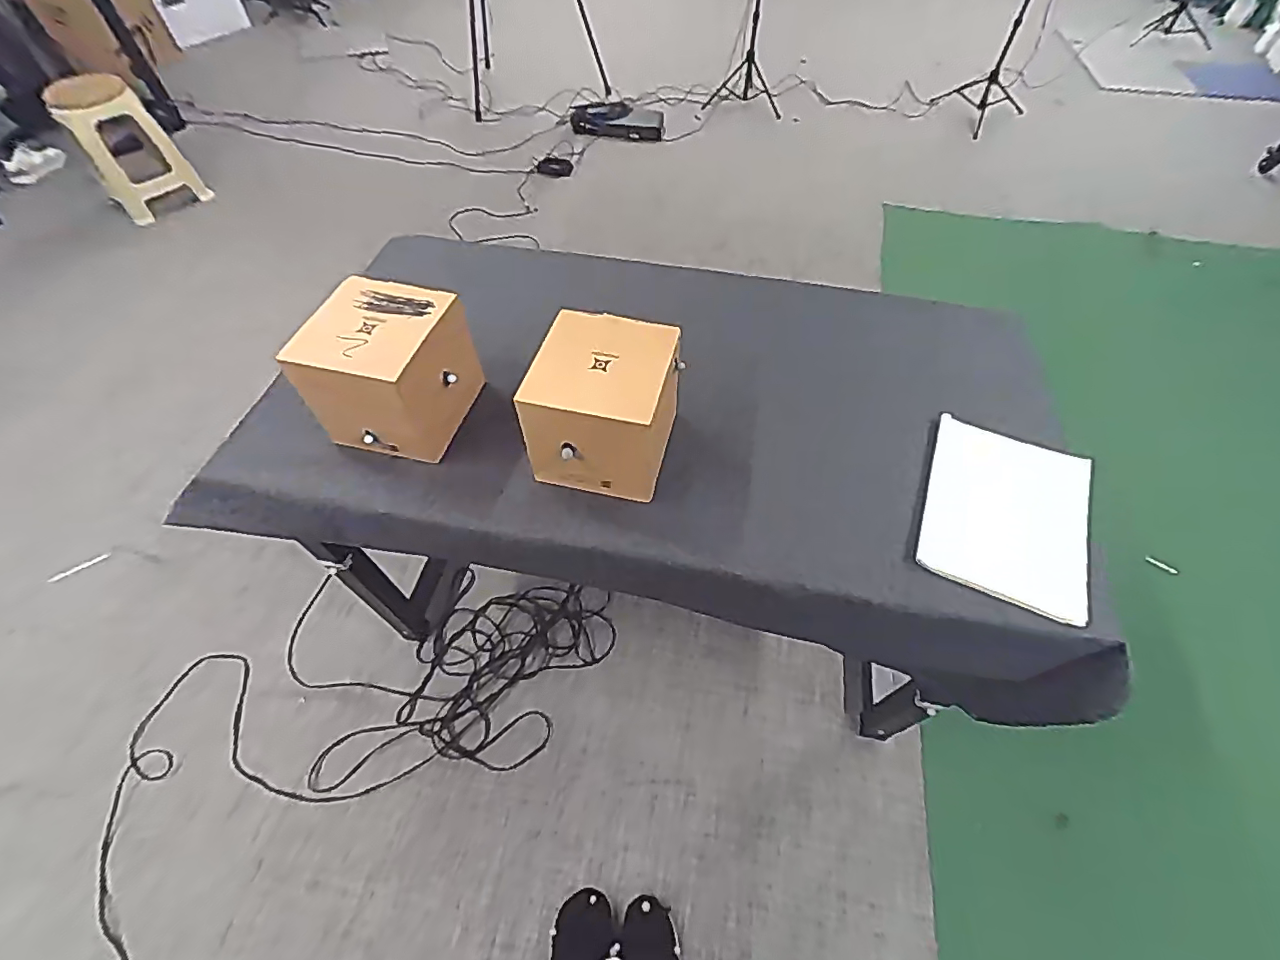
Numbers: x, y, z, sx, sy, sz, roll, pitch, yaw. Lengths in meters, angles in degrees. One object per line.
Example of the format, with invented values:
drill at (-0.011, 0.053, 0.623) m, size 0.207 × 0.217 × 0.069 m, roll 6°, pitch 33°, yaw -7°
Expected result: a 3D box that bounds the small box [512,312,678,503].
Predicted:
small box at (-0.047, -0.092, 0.718) m, size 0.168 × 0.176 × 0.179 m, roll 11°, pitch 55°, yaw 8°
